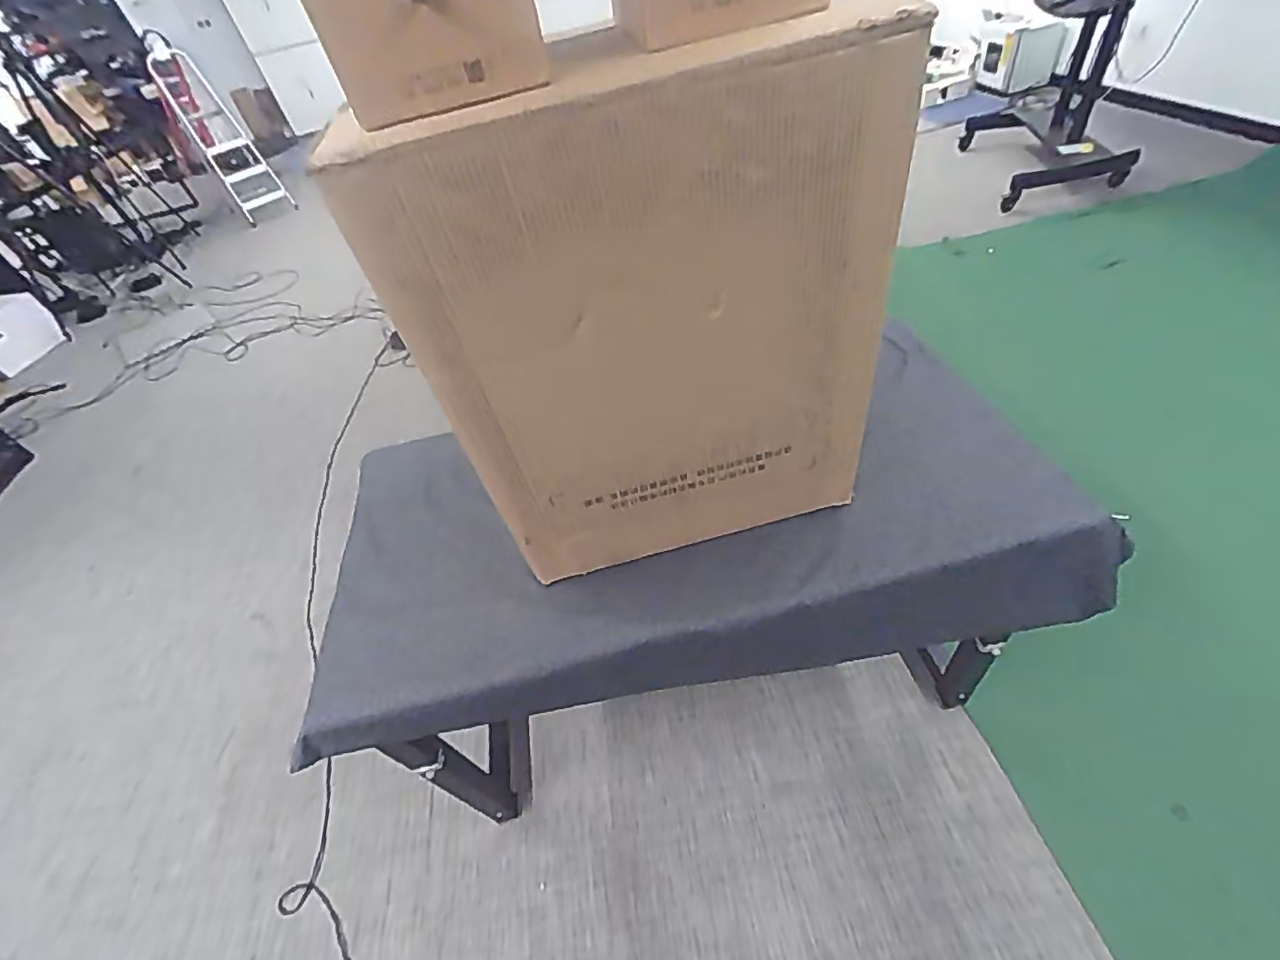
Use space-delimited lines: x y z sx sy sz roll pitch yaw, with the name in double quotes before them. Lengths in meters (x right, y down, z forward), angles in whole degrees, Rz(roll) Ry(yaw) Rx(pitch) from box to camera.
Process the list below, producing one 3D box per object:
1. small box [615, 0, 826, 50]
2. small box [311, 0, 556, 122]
"small box" 0.060 -0.495 0.465 0.168 0.176 0.179 -13 47 -3
"small box" -0.174 -0.423 0.447 0.168 0.176 0.179 -14 49 -1
